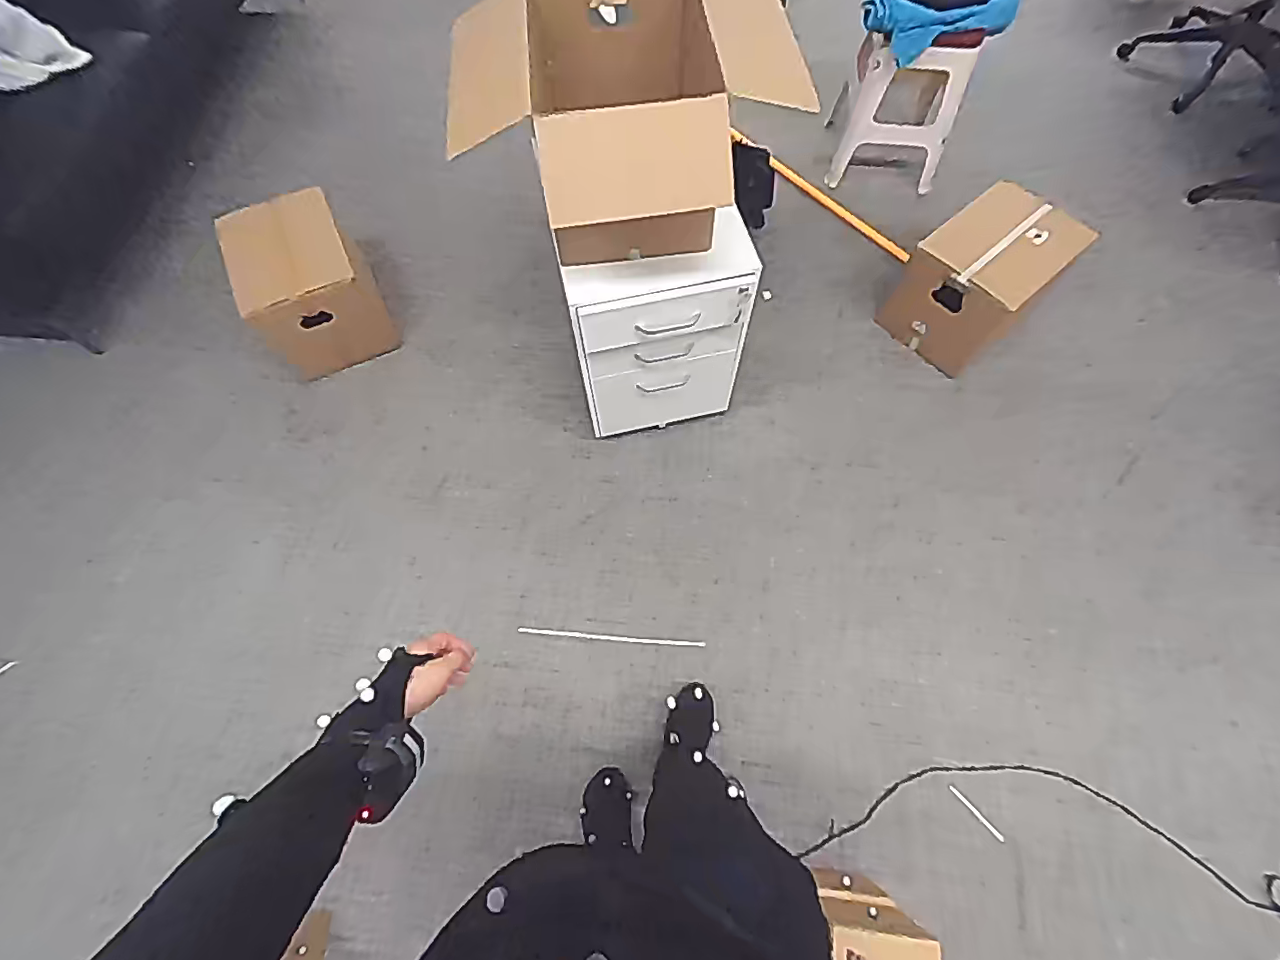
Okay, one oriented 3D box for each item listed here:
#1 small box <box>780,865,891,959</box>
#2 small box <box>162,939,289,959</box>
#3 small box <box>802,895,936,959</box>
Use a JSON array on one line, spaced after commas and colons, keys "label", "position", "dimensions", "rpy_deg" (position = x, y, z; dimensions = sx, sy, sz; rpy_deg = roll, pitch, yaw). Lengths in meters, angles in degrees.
[{"label": "small box", "position": [0.380, 0.886, 1.068], "dimensions": [0.179, 0.176, 0.168], "rpy_deg": [6, 67, 3]}, {"label": "small box", "position": [-0.744, 0.907, 0.909], "dimensions": [0.179, 0.176, 0.168], "rpy_deg": [3, 67, 1]}, {"label": "small box", "position": [0.377, 0.831, 0.913], "dimensions": [0.179, 0.176, 0.168], "rpy_deg": [7, 67, 3]}]
